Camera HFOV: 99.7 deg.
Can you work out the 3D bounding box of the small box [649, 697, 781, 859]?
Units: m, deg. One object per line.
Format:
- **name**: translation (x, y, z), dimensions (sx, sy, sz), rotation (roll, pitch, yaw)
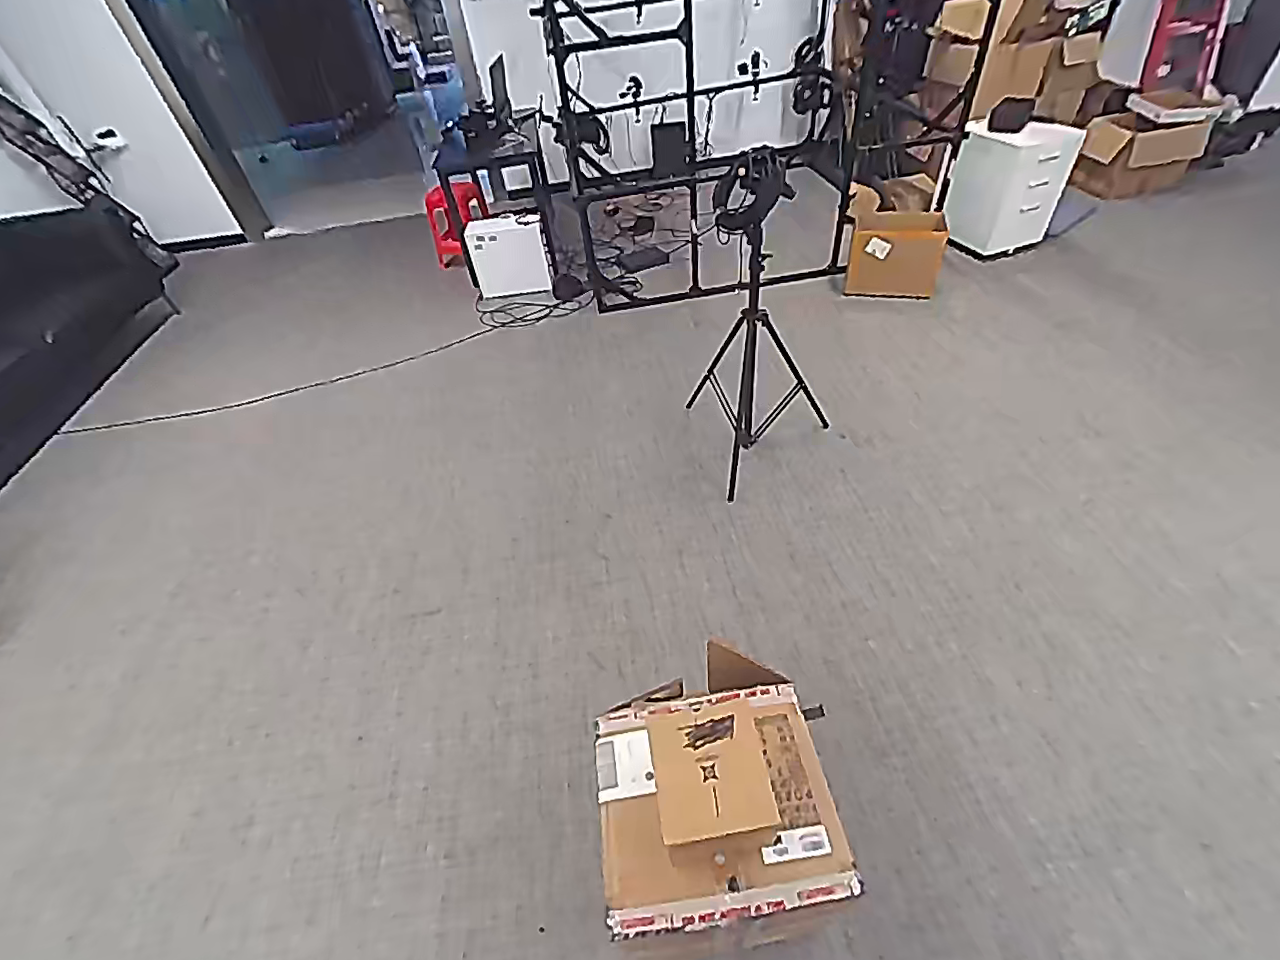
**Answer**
- **small box**: translation (0.110, 0.470, 0.852), dimensions (0.168, 0.176, 0.179), rotation (-10, 48, -1)
